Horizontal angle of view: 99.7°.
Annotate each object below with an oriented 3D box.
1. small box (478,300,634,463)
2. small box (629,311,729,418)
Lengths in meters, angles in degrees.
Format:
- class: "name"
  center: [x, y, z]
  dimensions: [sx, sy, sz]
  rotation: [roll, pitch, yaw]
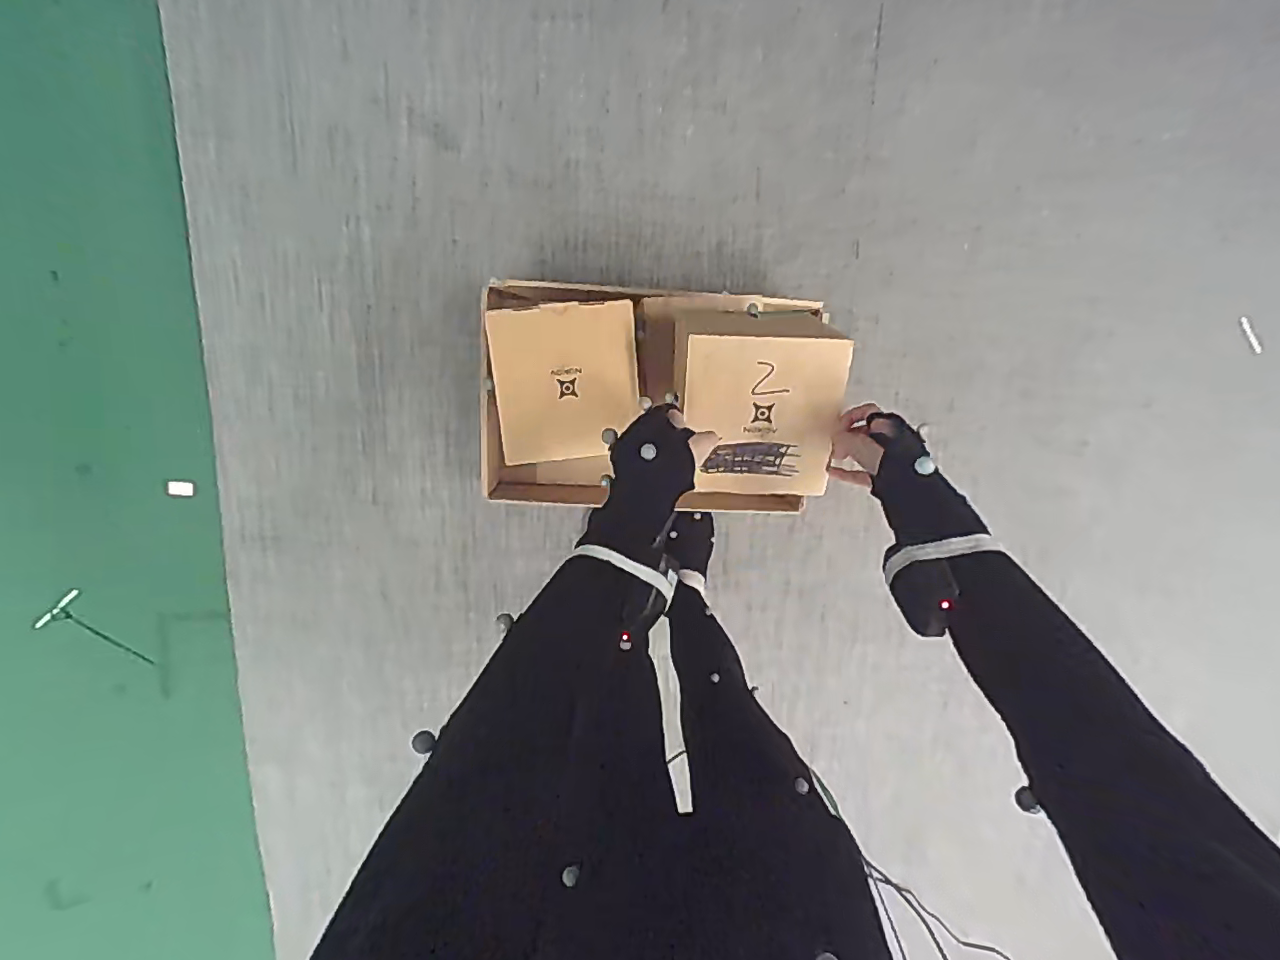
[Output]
- class: "small box"
  center: [-0.097, -0.128, 0.692]
  dimensions: [0.168, 0.176, 0.179]
  rotation: [-6, 103, -3]
- class: "small box"
  center: [0.064, -0.215, 1.021]
  dimensions: [0.168, 0.176, 0.179]
  rotation: [2, 102, -3]
